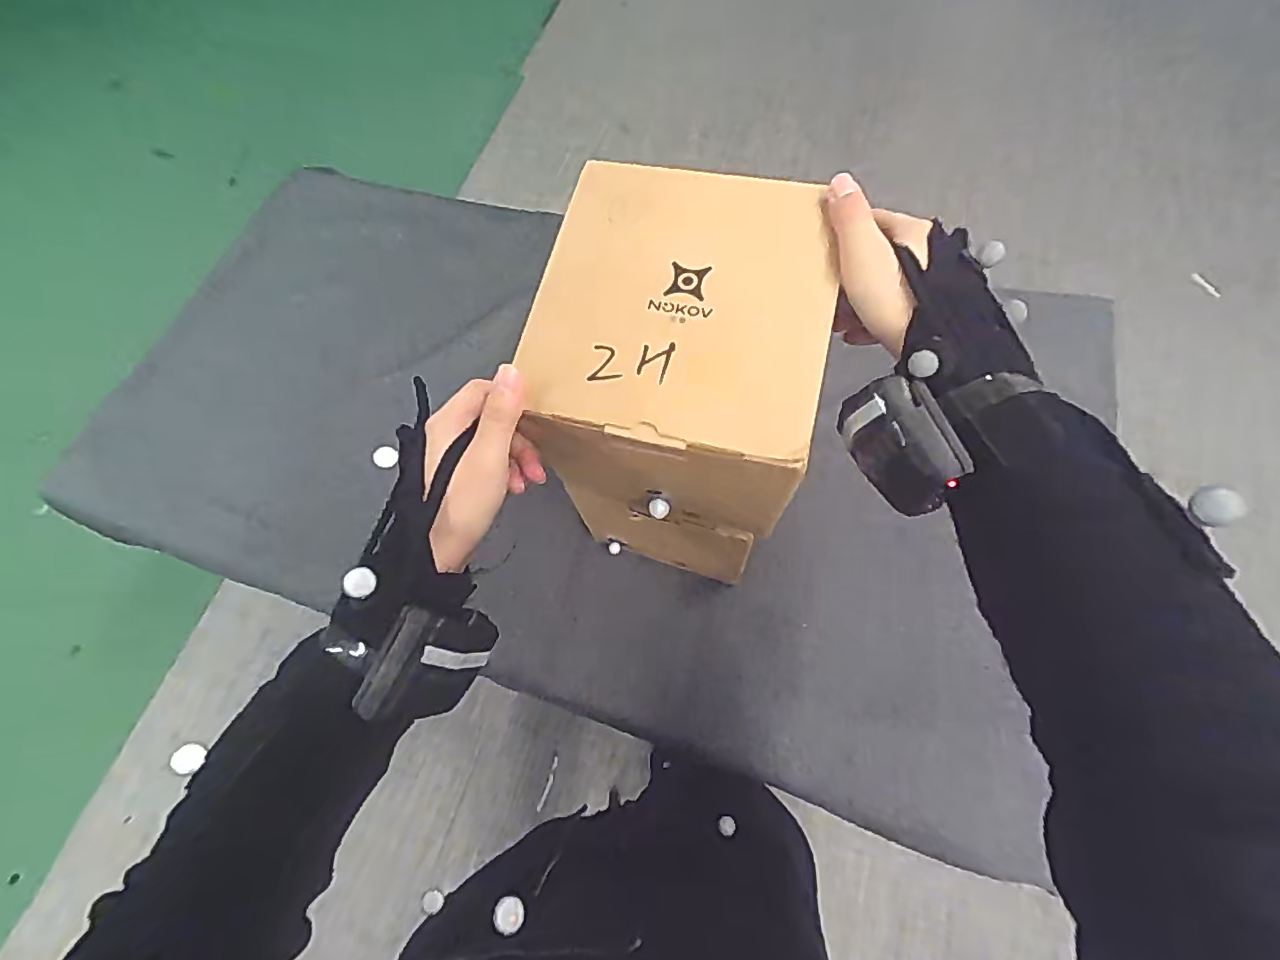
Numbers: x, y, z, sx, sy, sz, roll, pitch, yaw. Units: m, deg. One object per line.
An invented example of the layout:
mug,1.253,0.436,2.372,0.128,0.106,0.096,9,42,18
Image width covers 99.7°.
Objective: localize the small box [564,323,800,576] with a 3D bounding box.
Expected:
small box,0.046,-0.020,0.540,0.168,0.176,0.179,16,69,12
